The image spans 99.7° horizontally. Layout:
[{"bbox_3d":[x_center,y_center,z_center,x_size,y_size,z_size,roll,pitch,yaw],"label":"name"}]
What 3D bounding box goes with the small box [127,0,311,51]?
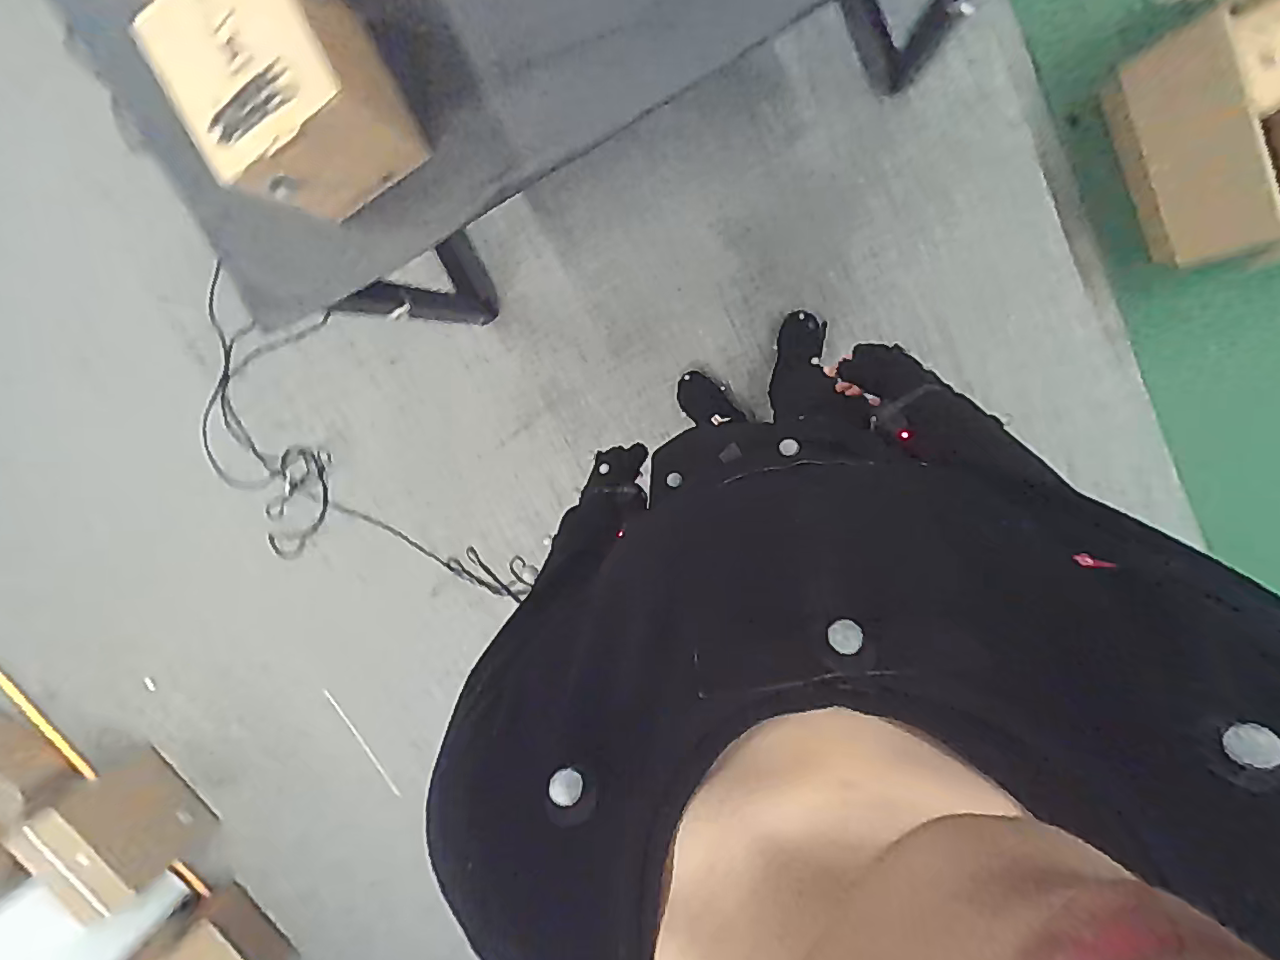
[{"bbox_3d":[-0.498,-0.625,0.591,0.168,0.176,0.179,-27,97,13],"label":"small box"}]
